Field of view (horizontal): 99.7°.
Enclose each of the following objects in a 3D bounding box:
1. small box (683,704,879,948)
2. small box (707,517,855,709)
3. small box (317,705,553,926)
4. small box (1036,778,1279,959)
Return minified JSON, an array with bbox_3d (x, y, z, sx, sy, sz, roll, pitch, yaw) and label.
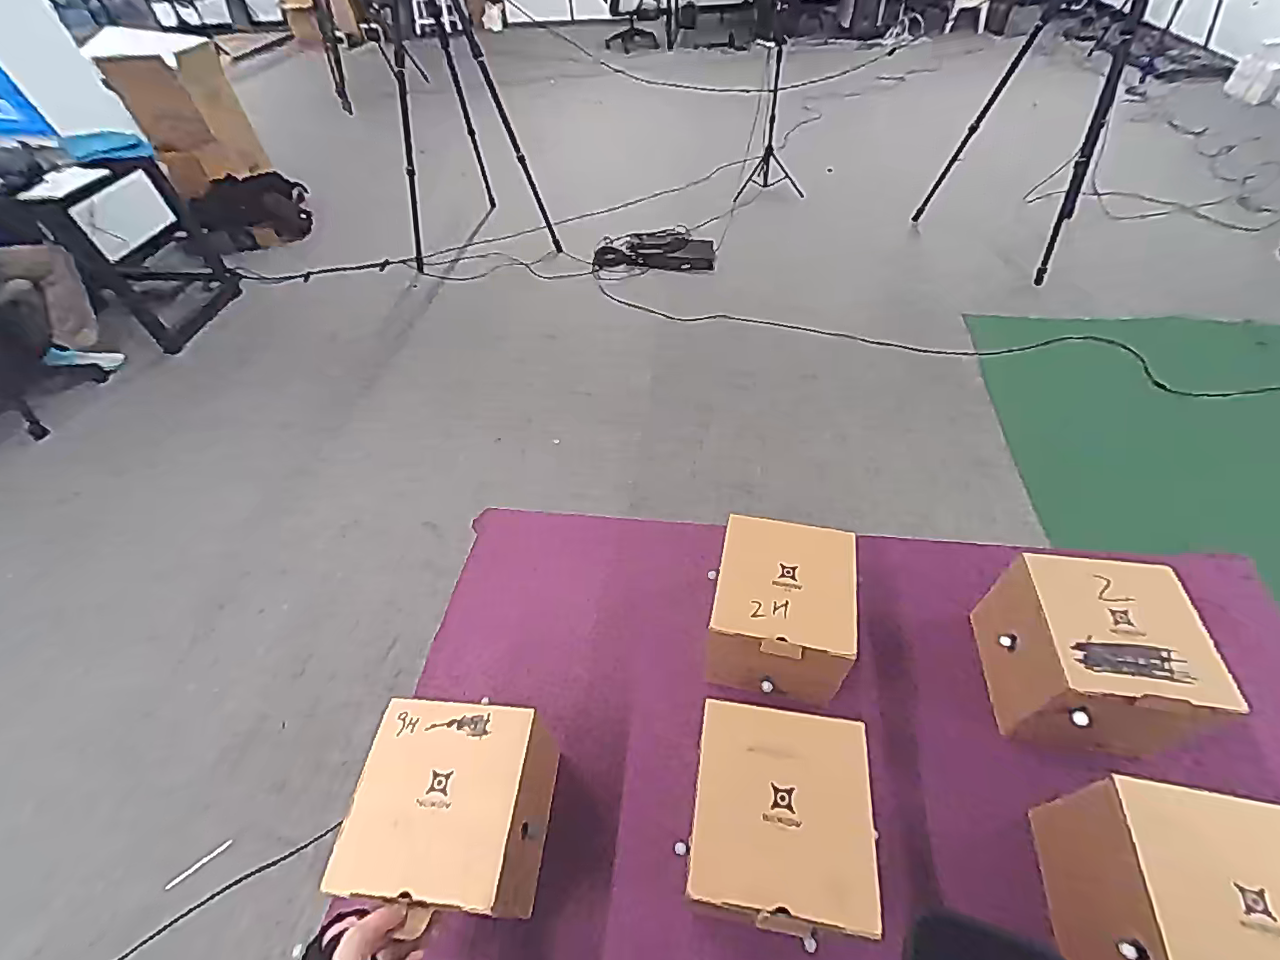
[{"bbox_3d":[0.138,0.364,0.570,0.168,0.176,0.179,5,49,9],"label":"small box"},{"bbox_3d":[0.184,0.178,0.726,0.168,0.176,0.179,8,51,12],"label":"small box"},{"bbox_3d":[-0.200,0.367,0.591,0.168,0.176,0.179,2,50,5],"label":"small box"},{"bbox_3d":[0.508,0.408,0.500,0.168,0.176,0.179,7,50,11],"label":"small box"}]
